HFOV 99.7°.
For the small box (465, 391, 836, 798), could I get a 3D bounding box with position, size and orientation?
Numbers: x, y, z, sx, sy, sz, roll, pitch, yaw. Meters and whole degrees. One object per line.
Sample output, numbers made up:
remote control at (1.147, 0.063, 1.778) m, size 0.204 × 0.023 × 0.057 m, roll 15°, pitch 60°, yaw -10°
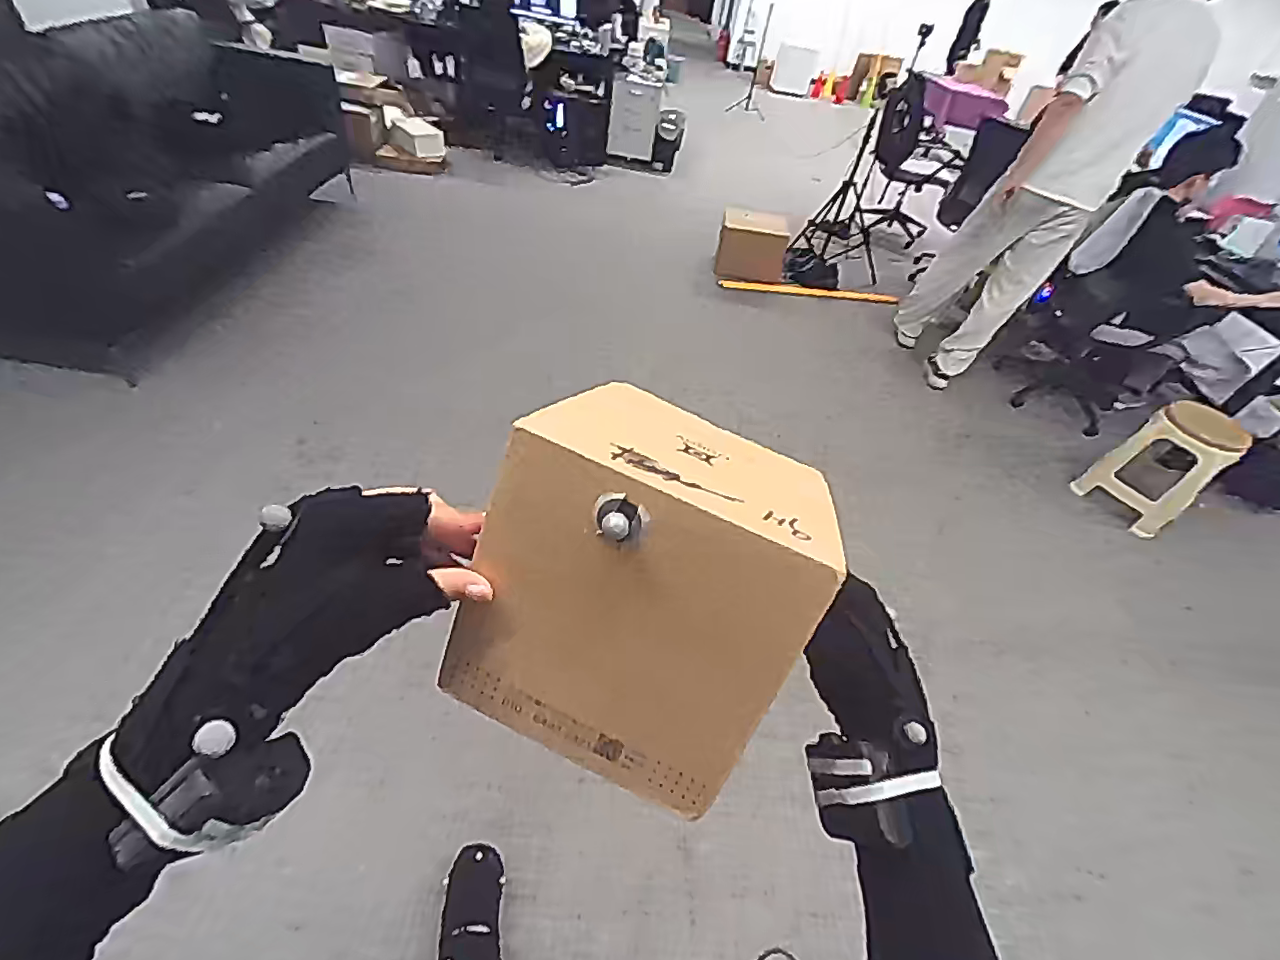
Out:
small box at (0.008, 0.057, 0.361) m, size 0.168 × 0.176 × 0.179 m, roll 24°, pitch 19°, yaw 7°
